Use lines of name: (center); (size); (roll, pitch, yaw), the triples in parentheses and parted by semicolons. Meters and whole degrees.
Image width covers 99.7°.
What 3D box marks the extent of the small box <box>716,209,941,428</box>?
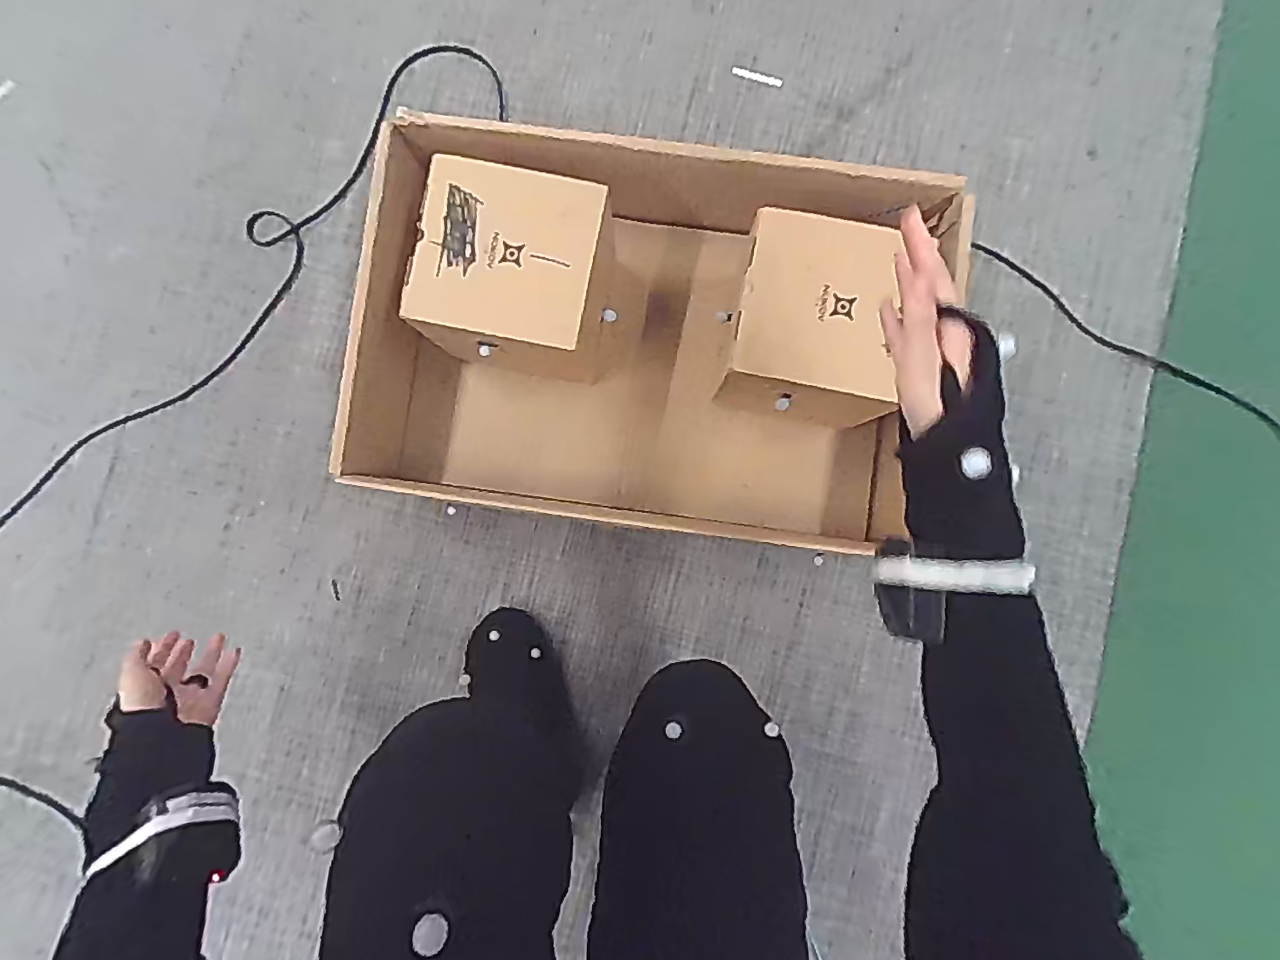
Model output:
small box: (0.188, -0.161, 0.595); (0.179, 0.176, 0.168); (13, 87, 2)
